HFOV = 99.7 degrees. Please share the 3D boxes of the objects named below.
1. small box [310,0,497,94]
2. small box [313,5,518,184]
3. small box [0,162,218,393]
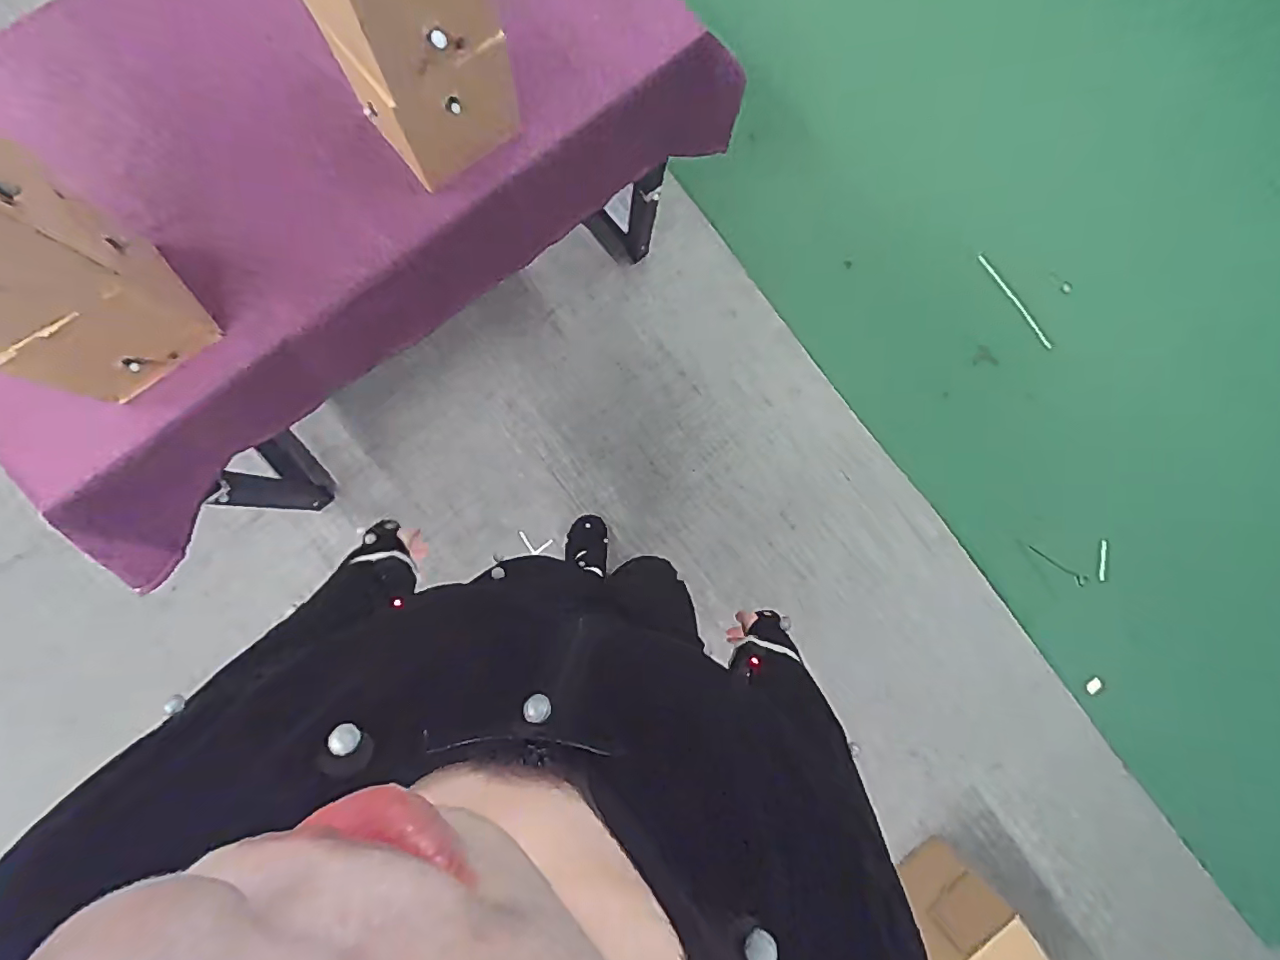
[{"bbox_3d":[-0.279,-0.576,0.579,0.168,0.176,0.179,-41,90,-7],"label":"small box"},{"bbox_3d":[-0.289,-0.554,0.742,0.179,0.176,0.168,-38,89,-7],"label":"small box"},{"bbox_3d":[-0.697,-0.236,0.674,0.168,0.176,0.179,-38,90,-8],"label":"small box"}]
